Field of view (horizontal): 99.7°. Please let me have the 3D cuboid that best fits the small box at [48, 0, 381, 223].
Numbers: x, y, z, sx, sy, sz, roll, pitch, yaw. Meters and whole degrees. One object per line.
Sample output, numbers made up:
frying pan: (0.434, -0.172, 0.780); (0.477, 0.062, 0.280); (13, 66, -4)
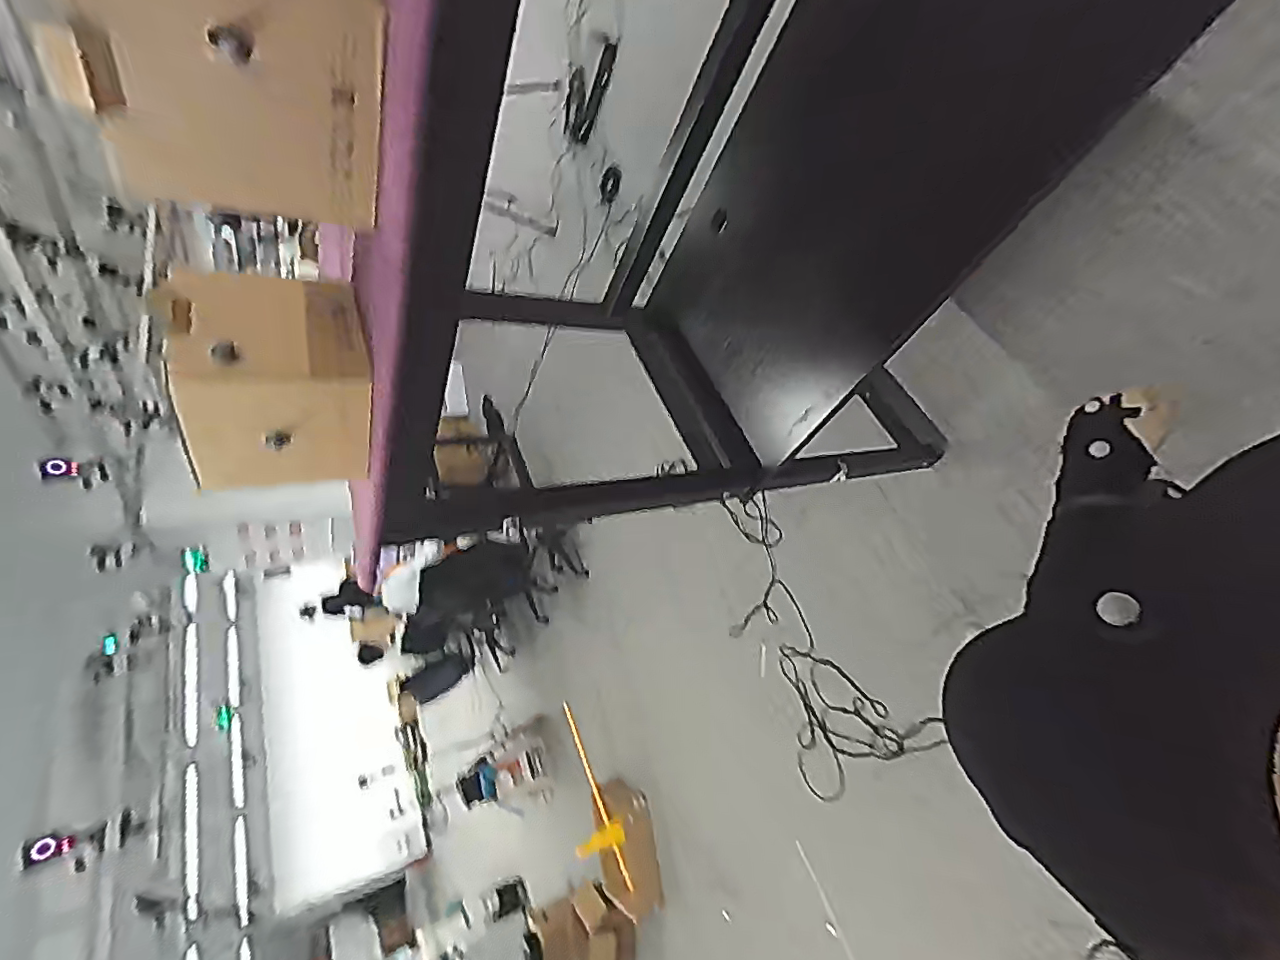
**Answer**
small box: (-0.297, -0.317, 0.399); (0.168, 0.176, 0.179); (-53, 52, 46)
